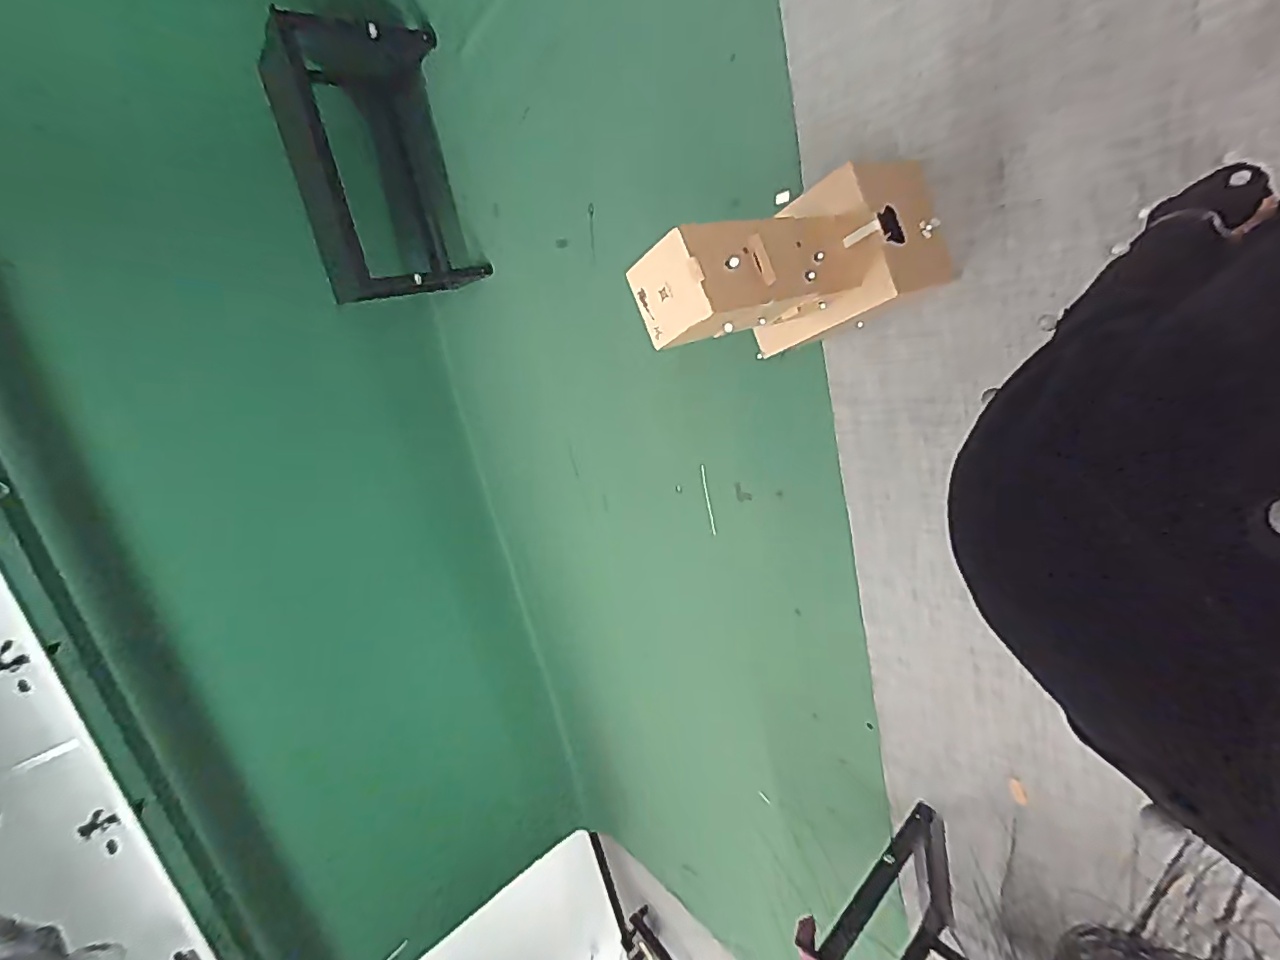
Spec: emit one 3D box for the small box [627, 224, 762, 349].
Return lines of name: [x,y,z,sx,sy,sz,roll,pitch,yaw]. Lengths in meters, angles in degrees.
small box: [0.112,-0.374,1.042,0.179,0.176,0.168,-18,94,54]

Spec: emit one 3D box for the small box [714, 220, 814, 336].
small box: [0.239,-0.424,1.134,0.179,0.176,0.168,-19,93,55]

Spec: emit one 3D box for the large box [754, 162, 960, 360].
large box: [0.519,-0.555,1.403,0.408,0.320,0.320,-18,93,57]

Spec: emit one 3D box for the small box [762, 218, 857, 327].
small box: [0.362,-0.473,1.230,0.168,0.176,0.179,-17,95,55]
